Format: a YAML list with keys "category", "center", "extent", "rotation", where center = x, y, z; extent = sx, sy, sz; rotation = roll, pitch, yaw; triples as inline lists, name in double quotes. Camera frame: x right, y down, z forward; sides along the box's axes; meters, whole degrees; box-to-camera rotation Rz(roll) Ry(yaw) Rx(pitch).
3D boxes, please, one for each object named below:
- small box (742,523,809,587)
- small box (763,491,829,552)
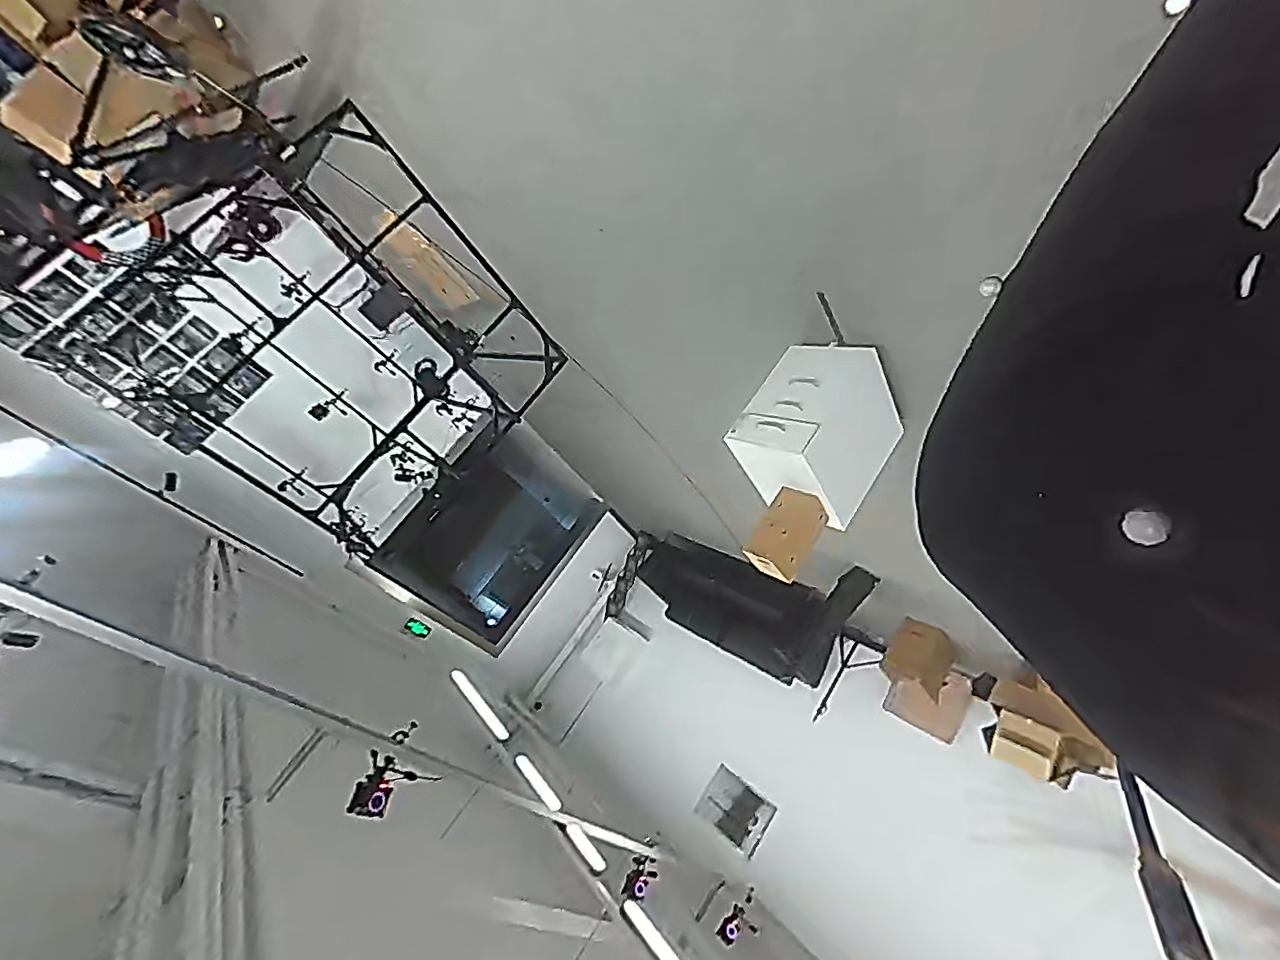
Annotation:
- category: "small box"
  center: [0.553, 0.298, 2.192]
  extent: [0.168, 0.176, 0.179]
  rotation: [19, 158, 52]
- category: "small box"
  center: [0.646, 0.167, 2.230]
  extent: [0.179, 0.176, 0.168]
  rotation: [21, 158, 48]
